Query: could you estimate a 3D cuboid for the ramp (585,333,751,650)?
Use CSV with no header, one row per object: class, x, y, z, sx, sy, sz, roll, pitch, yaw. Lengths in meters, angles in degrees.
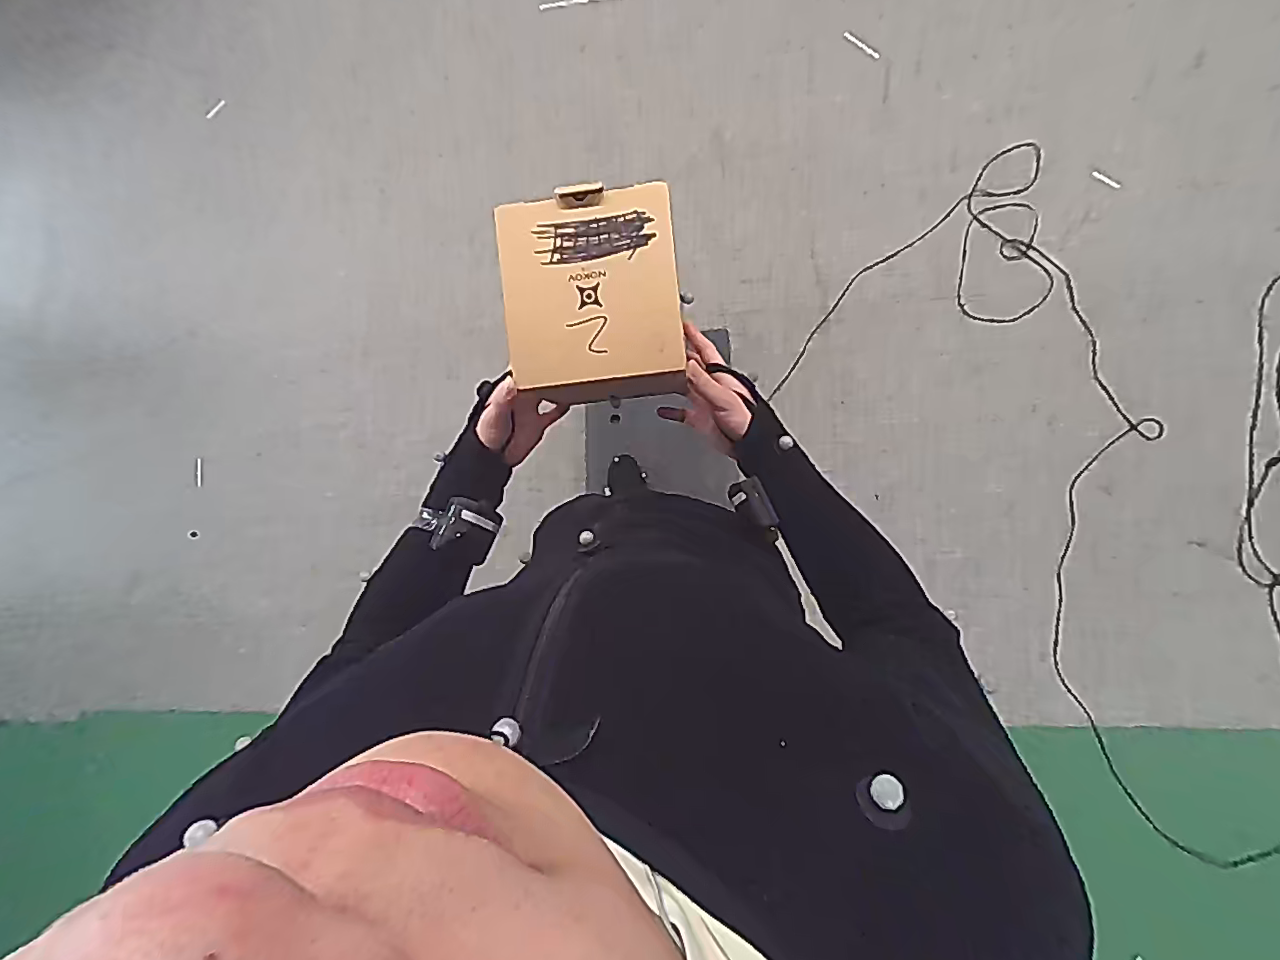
ramp,0.064,0.011,1.700,0.509,0.206,0.991,-5,86,8
